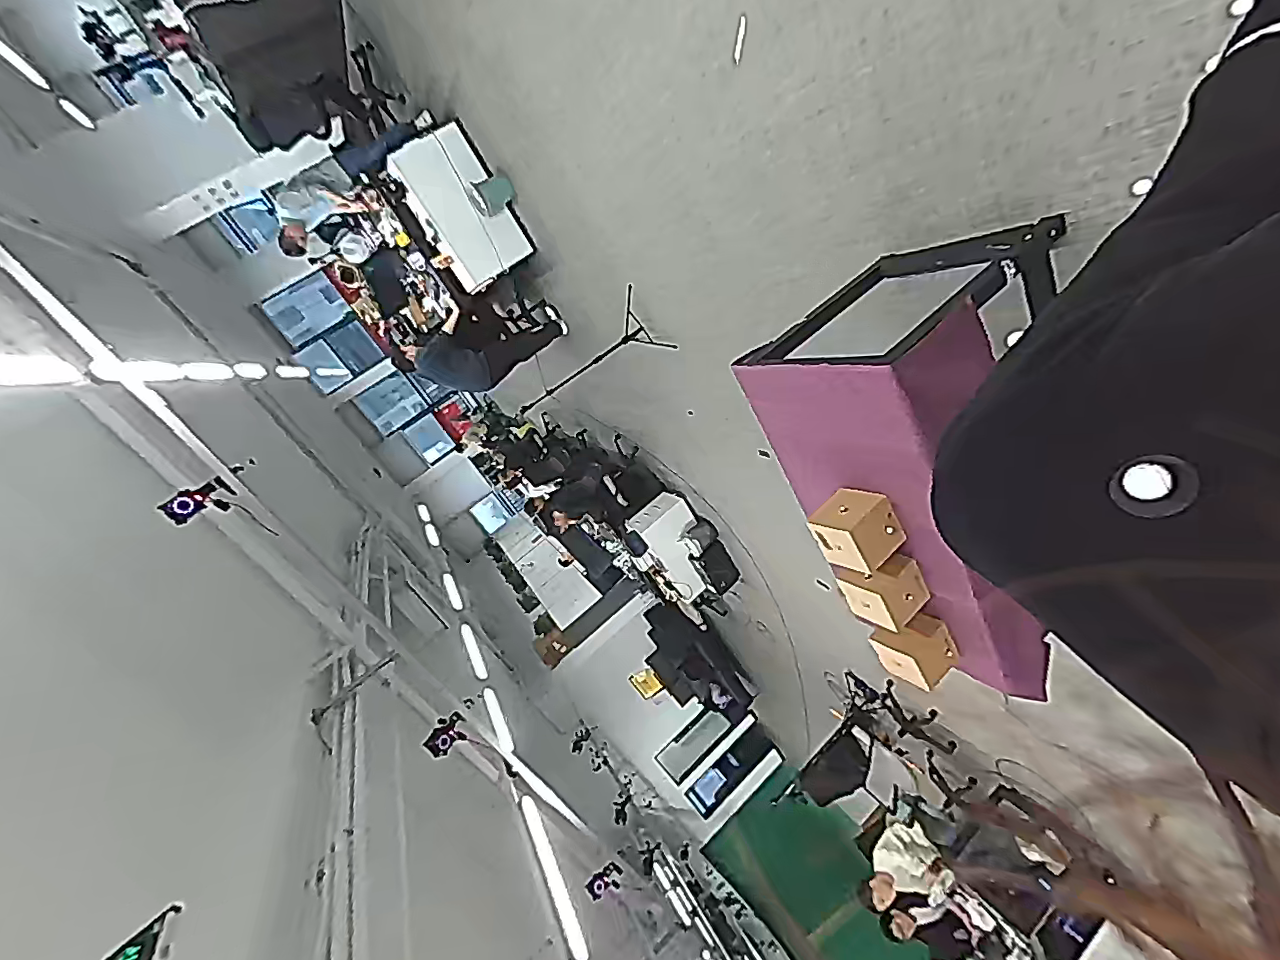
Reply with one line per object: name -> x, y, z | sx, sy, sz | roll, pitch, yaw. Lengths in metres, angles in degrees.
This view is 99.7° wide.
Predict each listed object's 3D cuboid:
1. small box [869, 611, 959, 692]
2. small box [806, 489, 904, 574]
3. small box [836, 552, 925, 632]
small box -> 0.903, 0.550, 1.780 | 0.168, 0.176, 0.179 | 56, 165, -20
small box -> 0.637, 0.145, 1.600 | 0.168, 0.176, 0.179 | 56, 164, -19
small box -> 0.758, 0.334, 1.690 | 0.168, 0.176, 0.179 | 57, 164, -22
